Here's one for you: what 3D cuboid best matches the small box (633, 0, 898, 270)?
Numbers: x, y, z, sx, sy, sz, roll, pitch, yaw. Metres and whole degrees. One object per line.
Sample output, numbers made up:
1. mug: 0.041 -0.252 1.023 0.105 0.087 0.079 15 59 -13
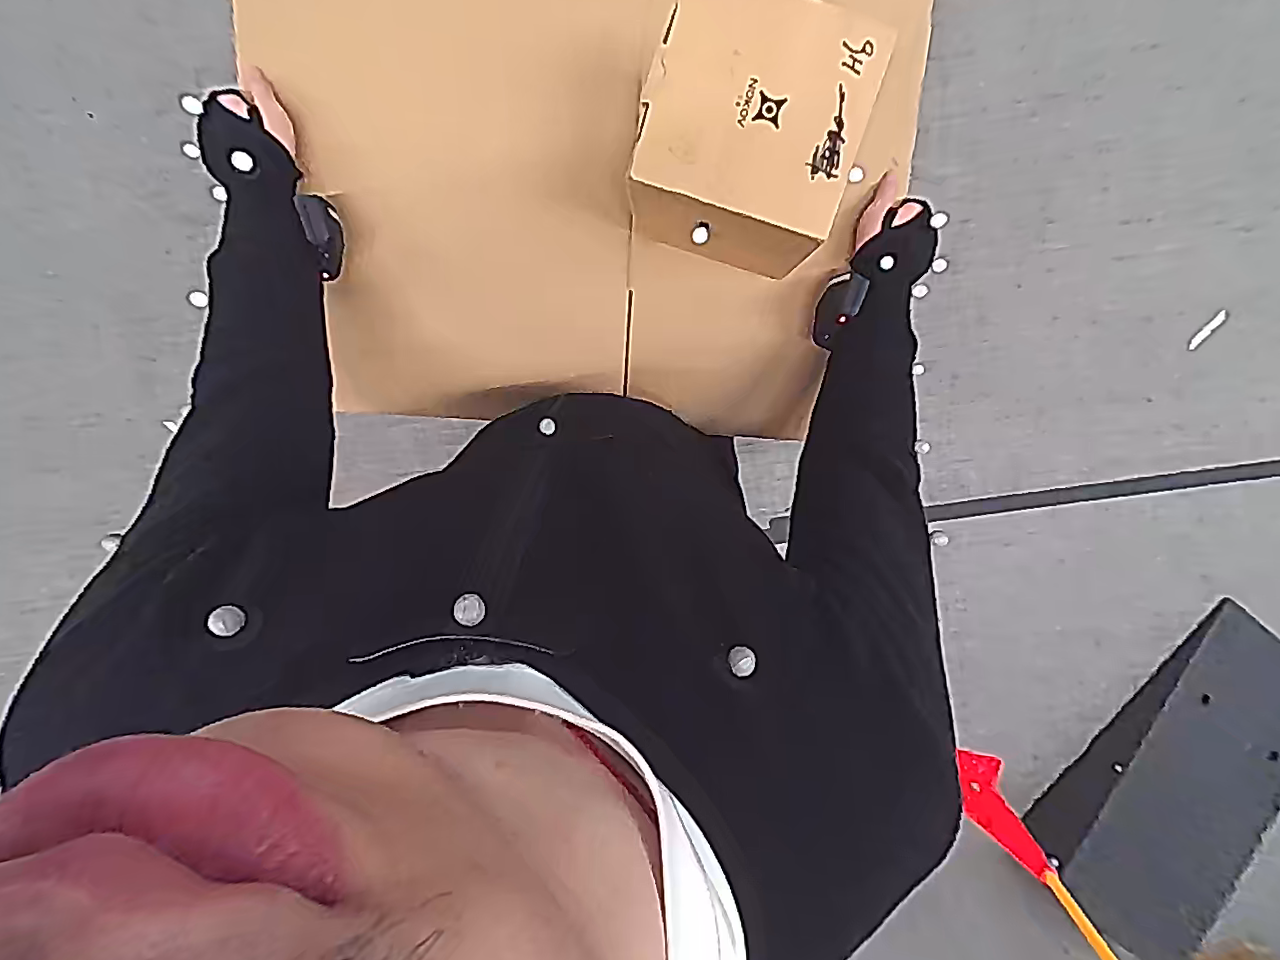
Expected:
1. small box: 0.104 -0.320 0.520 0.179 0.176 0.168 17 100 0
